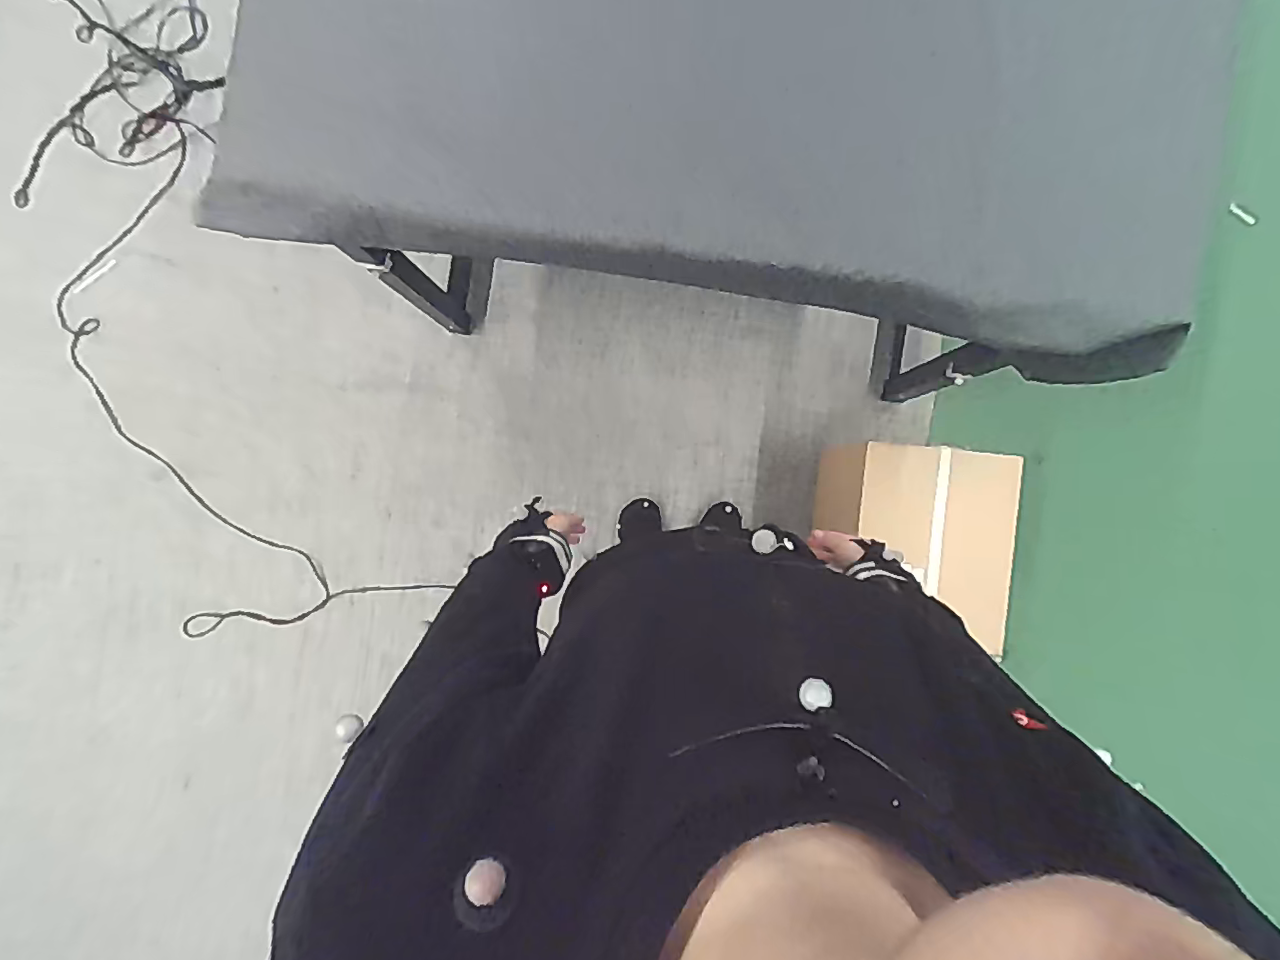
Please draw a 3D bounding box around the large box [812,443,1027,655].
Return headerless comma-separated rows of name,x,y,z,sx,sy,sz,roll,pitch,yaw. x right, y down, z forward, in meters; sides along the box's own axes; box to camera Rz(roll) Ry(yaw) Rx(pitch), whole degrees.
large box,0.597,0.134,1.215,0.320,0.320,0.408,6,90,2
